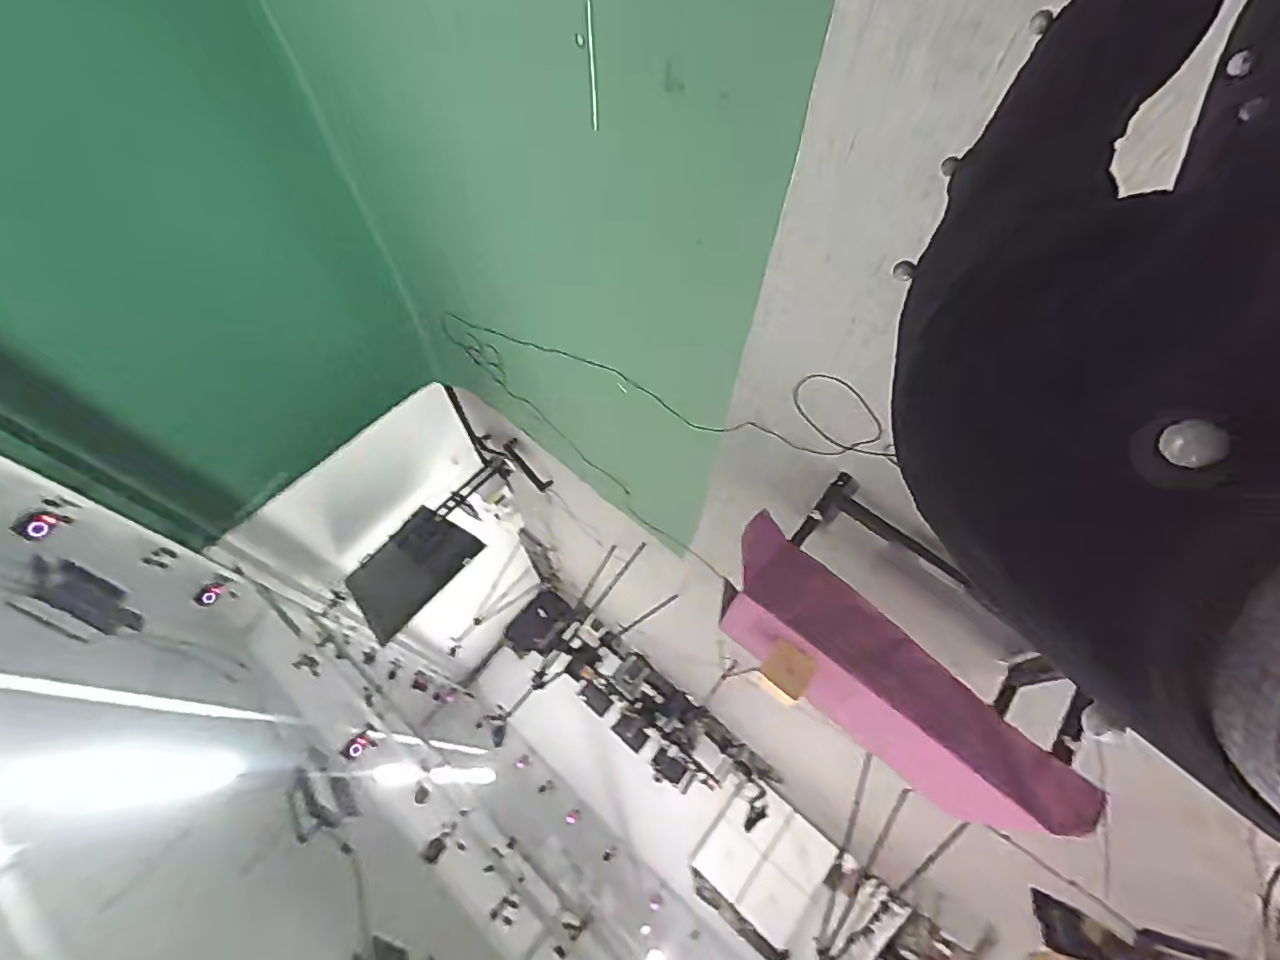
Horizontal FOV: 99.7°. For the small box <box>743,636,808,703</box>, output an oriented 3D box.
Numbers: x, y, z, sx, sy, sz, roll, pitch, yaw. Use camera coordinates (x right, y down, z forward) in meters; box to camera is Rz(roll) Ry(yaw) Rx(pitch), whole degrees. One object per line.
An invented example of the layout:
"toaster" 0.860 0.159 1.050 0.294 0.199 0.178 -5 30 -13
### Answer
"small box" 0.534 0.745 2.126 0.179 0.176 0.168 36 156 18
